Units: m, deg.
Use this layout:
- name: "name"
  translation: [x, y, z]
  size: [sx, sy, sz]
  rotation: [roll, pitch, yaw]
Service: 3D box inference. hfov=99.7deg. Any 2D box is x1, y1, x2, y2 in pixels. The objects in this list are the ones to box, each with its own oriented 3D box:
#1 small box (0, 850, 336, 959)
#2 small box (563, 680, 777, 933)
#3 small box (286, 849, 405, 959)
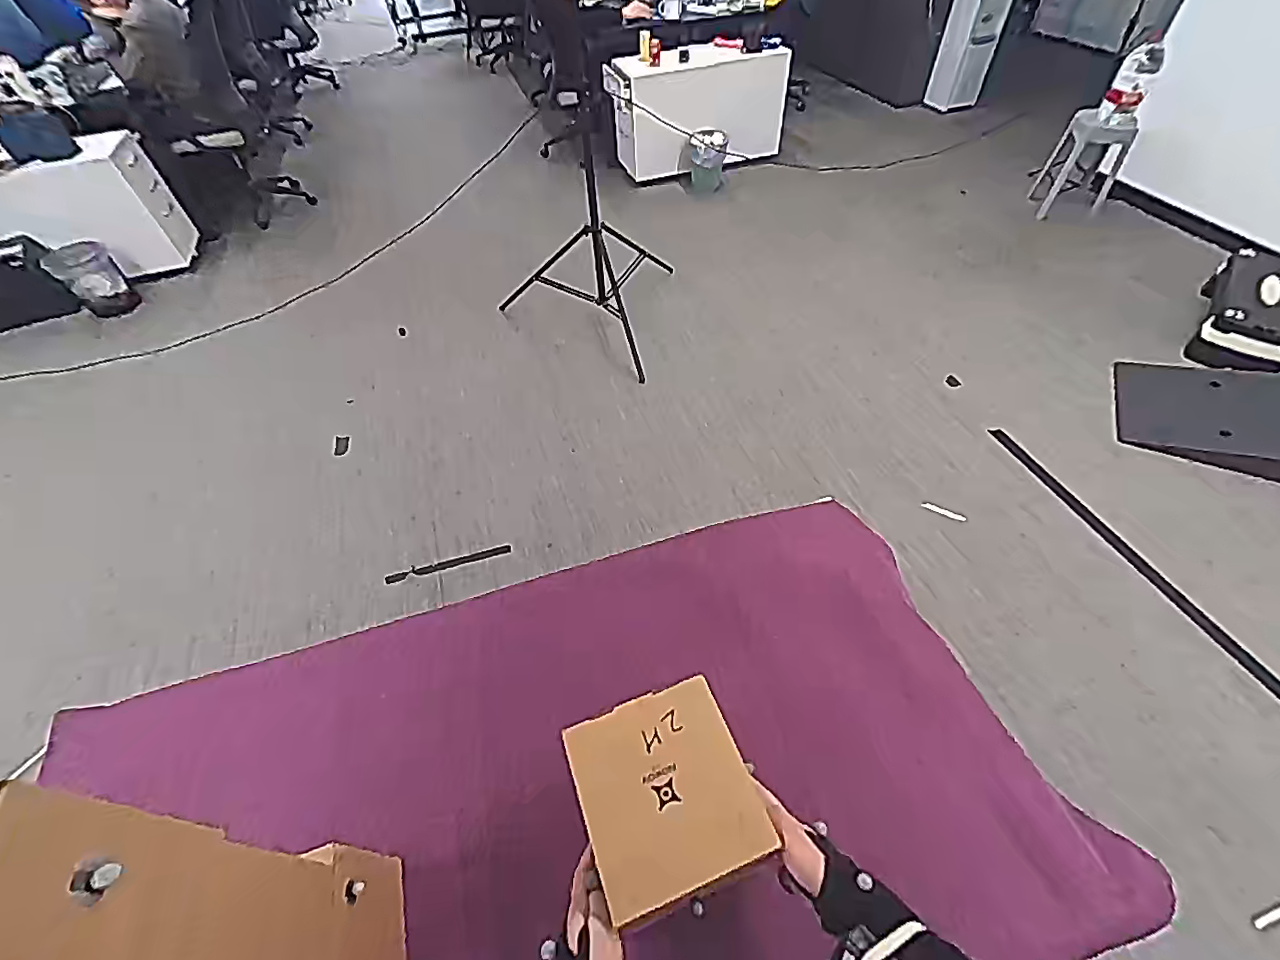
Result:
- name: "small box"
  translation: [-0.332, 0.397, 0.377]
  size: [0.168, 0.176, 0.179]
  rotation: [-20, 52, -13]
- name: "small box"
  translation: [0.028, 0.357, 0.593]
  size: [0.168, 0.176, 0.179]
  rotation: [-18, 49, -11]
- name: "small box"
  translation: [-0.335, 0.487, 0.516]
  size: [0.168, 0.176, 0.179]
  rotation: [-17, 51, -10]
